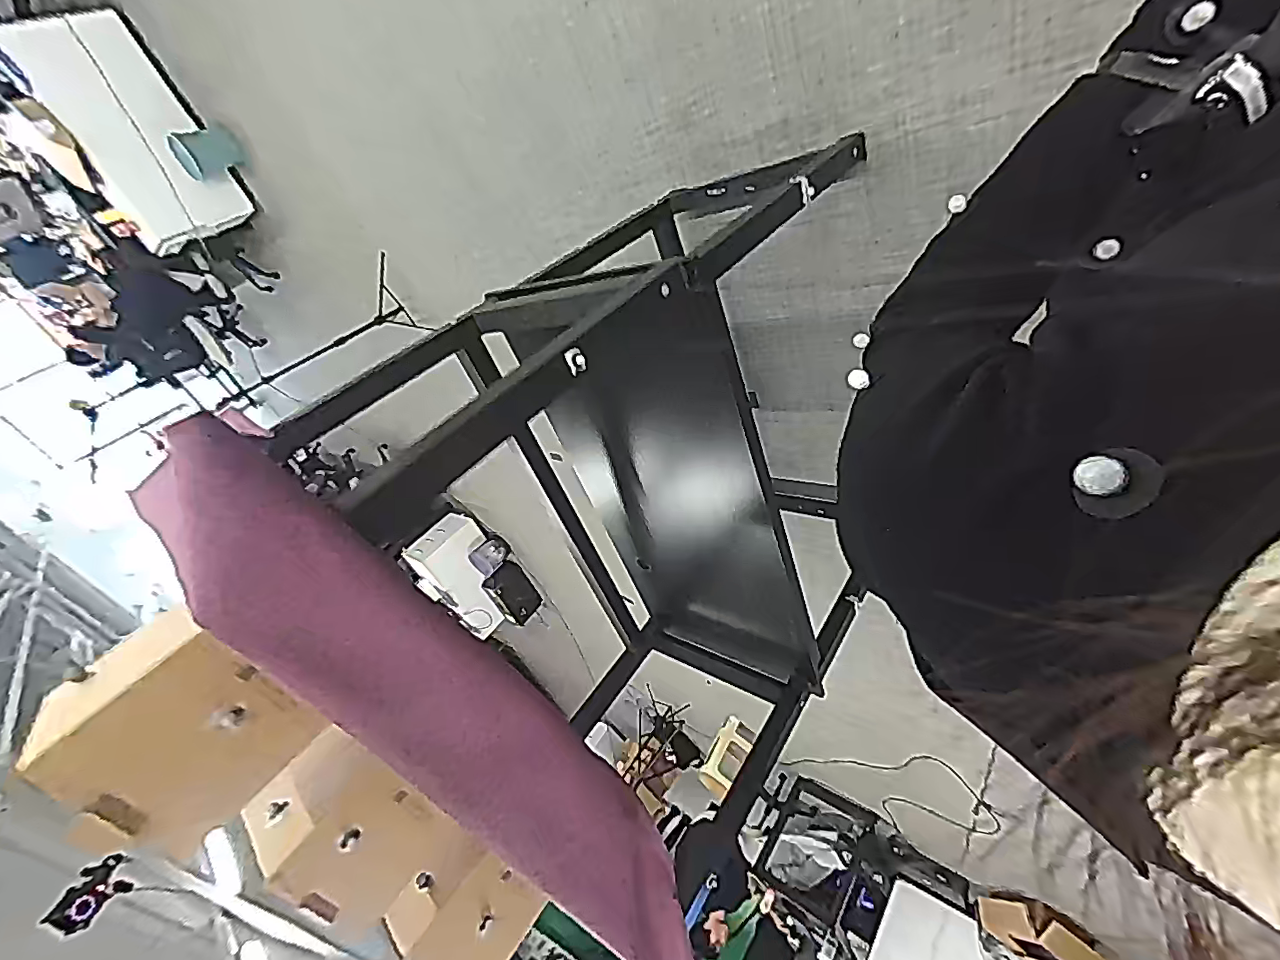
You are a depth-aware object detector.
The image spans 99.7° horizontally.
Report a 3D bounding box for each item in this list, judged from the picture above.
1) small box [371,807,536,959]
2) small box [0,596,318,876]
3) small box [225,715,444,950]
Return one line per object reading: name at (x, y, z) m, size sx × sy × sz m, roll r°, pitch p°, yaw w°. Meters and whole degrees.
small box at (-0.290, 0.657, 0.844) m, size 0.179 × 0.176 × 0.168 m, roll -1°, pitch 127°, yaw 49°
small box at (-0.473, 0.244, 0.560) m, size 0.179 × 0.176 × 0.168 m, roll 4°, pitch 132°, yaw 48°
small box at (-0.390, 0.444, 0.710) m, size 0.179 × 0.176 × 0.168 m, roll 7°, pitch 132°, yaw 45°
